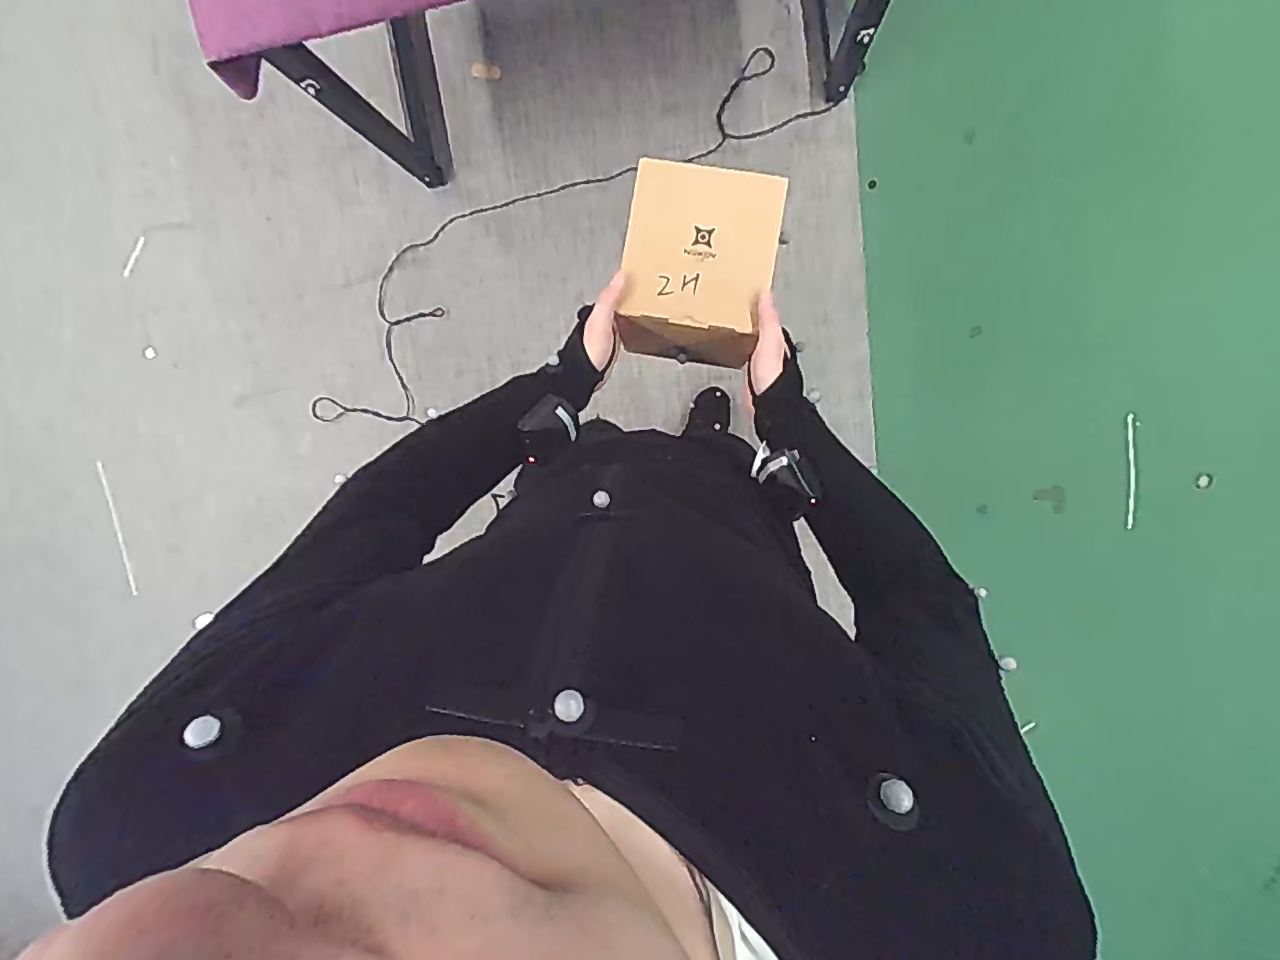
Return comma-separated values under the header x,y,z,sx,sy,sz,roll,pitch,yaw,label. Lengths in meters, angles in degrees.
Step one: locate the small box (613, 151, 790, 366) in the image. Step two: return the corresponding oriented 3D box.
x,y,z,sx,sy,sz,roll,pitch,yaw,label
0.069,-0.254,0.656,0.168,0.176,0.179,10,89,4,small box
